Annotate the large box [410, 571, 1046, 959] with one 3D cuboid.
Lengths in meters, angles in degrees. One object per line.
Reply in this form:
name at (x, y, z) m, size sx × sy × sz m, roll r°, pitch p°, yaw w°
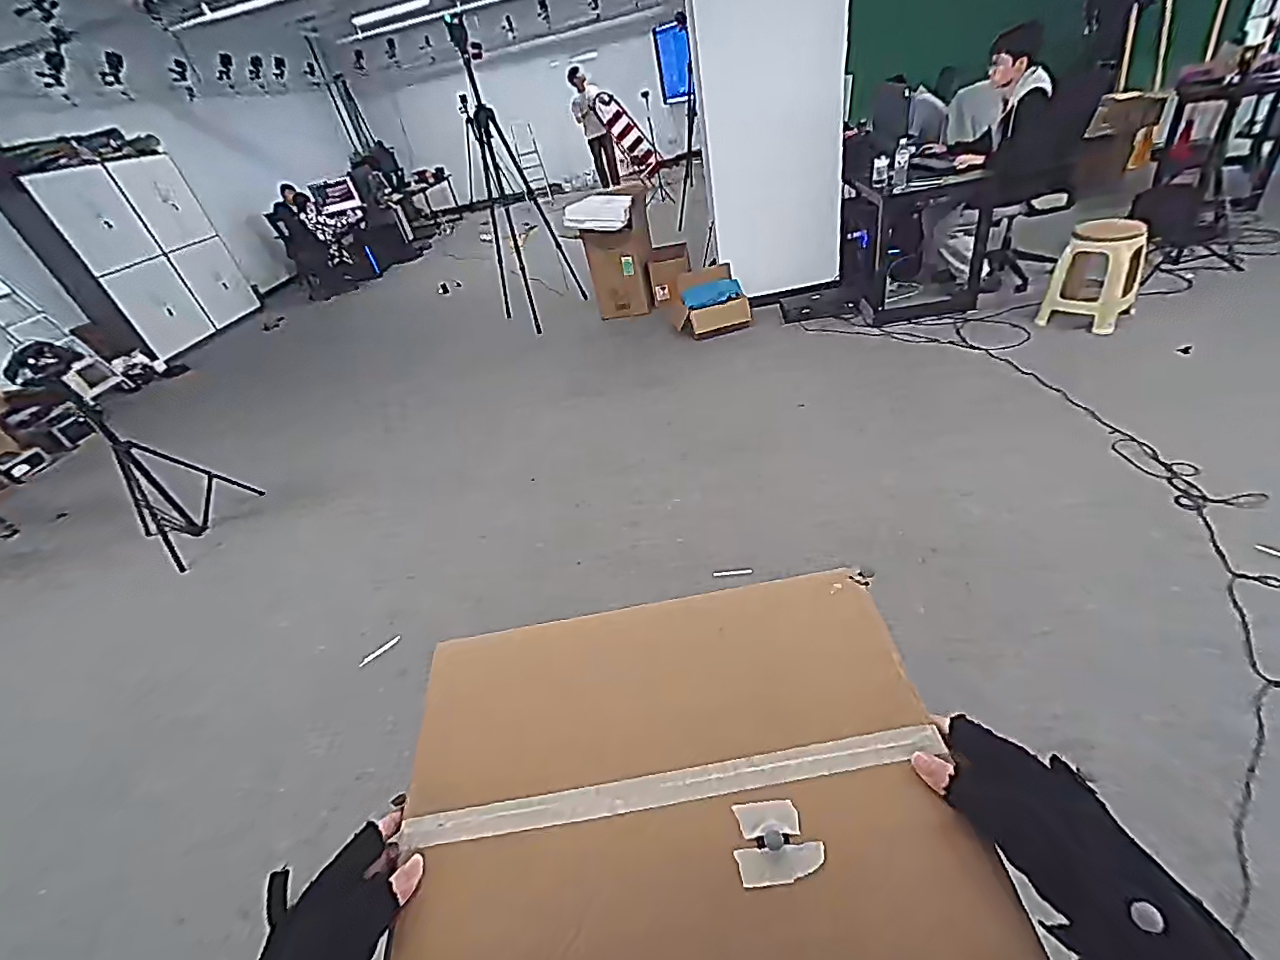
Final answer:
large box at (0.050, 0.335, 0.520) m, size 0.408 × 0.320 × 0.320 m, roll -11°, pitch 46°, yaw 1°
